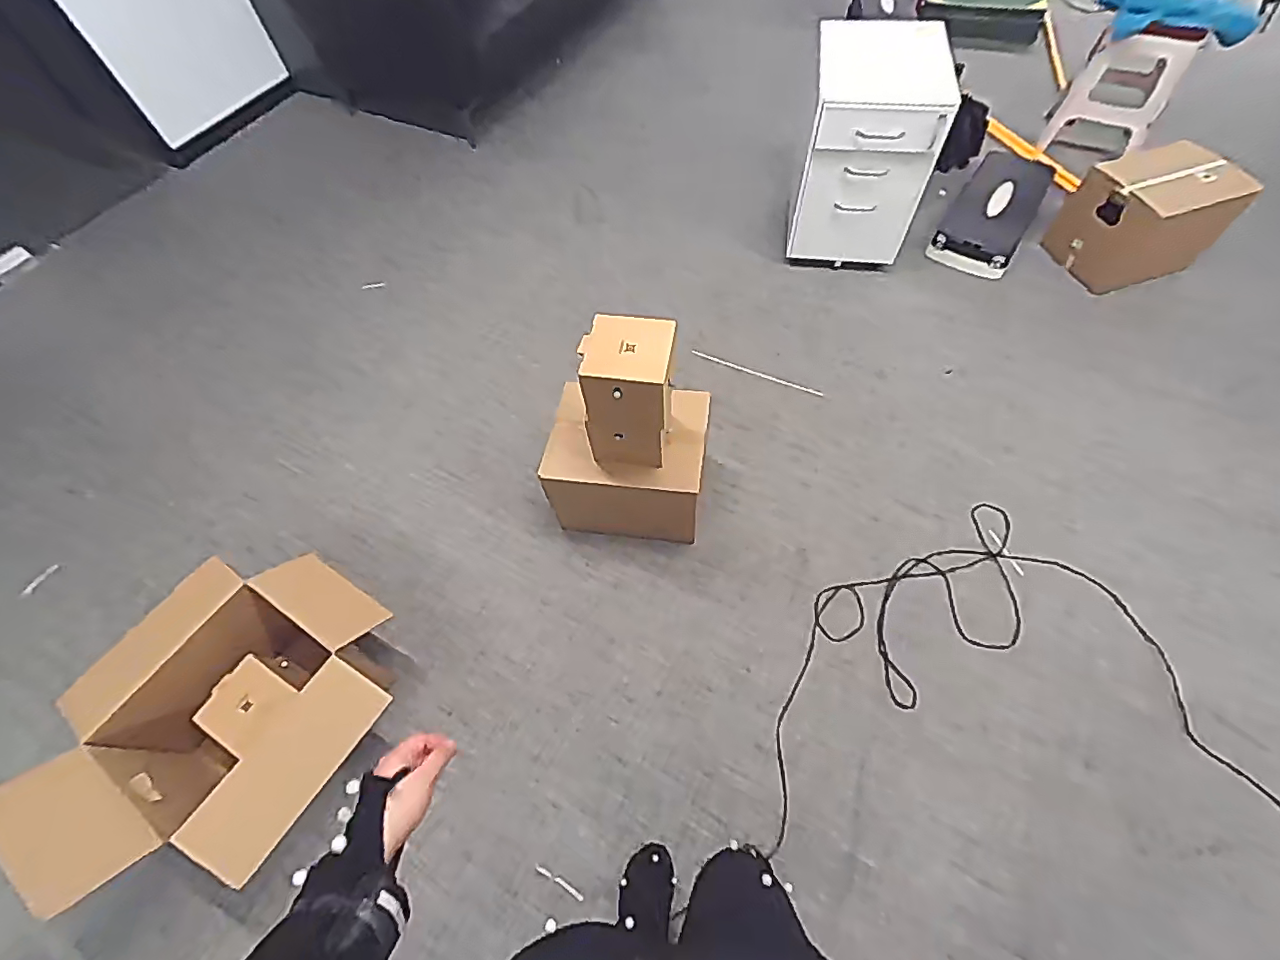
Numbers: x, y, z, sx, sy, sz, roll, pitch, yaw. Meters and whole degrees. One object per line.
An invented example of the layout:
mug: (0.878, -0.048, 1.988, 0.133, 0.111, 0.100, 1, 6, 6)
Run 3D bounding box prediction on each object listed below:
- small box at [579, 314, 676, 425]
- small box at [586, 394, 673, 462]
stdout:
small box: (-0.017, -0.234, 1.171, 0.179, 0.176, 0.168, 6, 62, 9)
small box: (-0.018, -0.157, 1.314, 0.179, 0.176, 0.168, 6, 62, 8)
